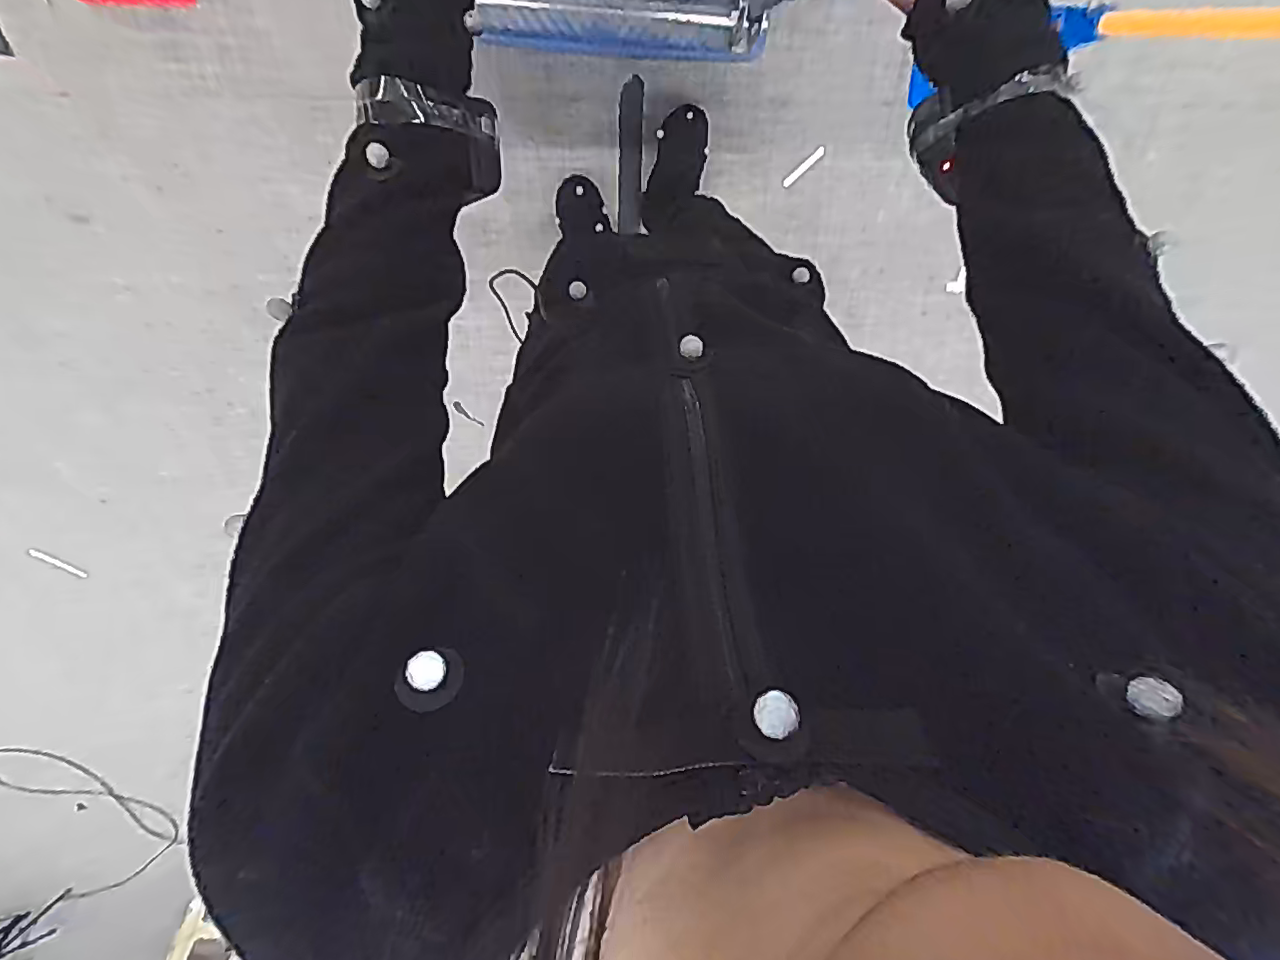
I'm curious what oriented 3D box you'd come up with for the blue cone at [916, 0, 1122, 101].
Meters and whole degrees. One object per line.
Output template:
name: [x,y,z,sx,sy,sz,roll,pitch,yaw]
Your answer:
blue cone: [0.689,-0.810,0.973,0.193,0.380,0.192,-7,123,-4]
